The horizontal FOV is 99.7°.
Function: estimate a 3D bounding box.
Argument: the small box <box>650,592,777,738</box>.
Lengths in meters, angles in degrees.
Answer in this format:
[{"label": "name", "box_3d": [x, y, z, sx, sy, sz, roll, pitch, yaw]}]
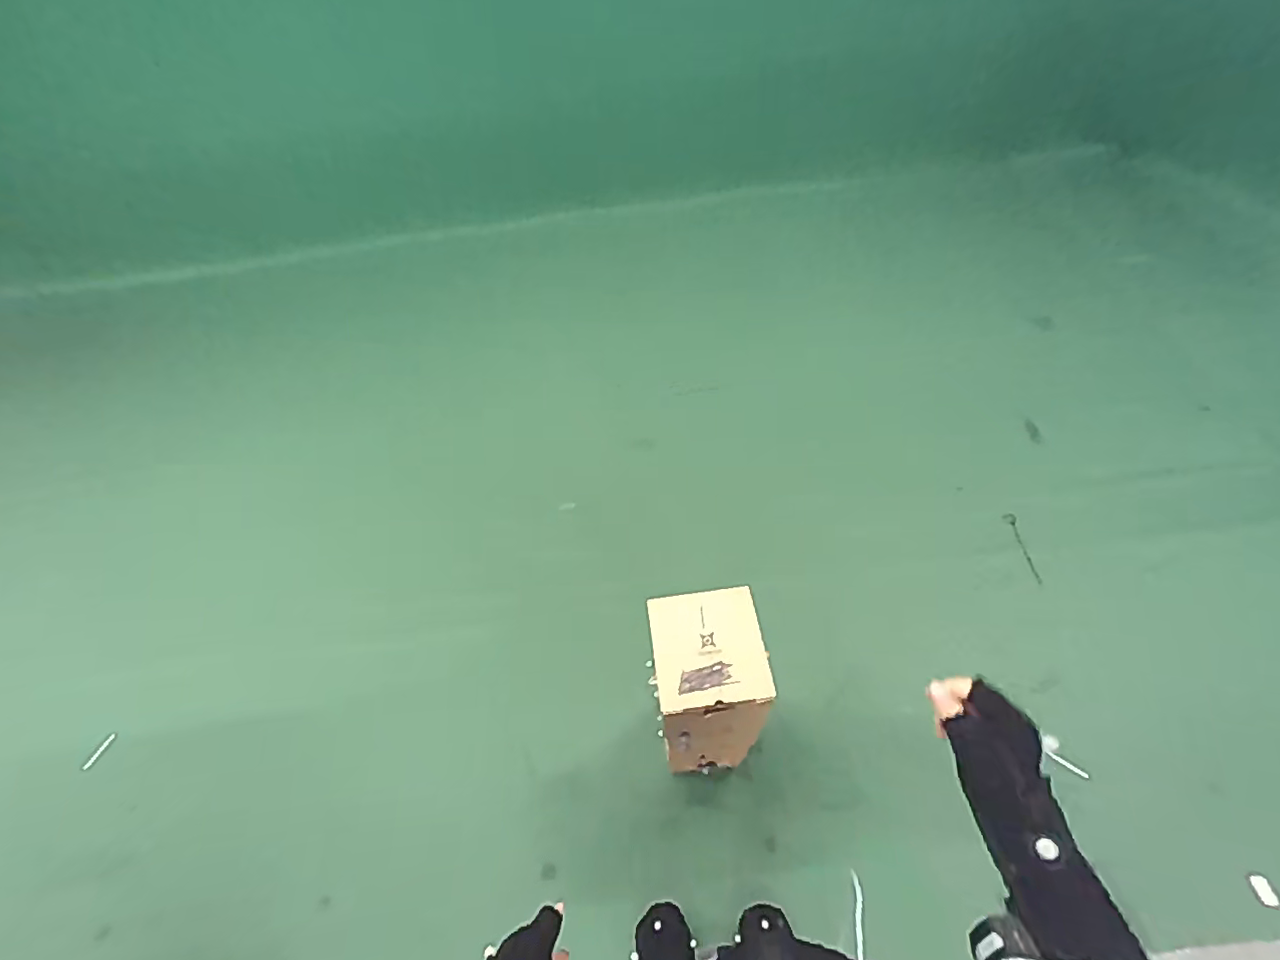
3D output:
[{"label": "small box", "box_3d": [0.112, 0.304, 0.870, 0.168, 0.176, 0.179, -7, 52, -1]}]

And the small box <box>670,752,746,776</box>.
[{"label": "small box", "box_3d": [0.149, 0.582, 1.275, 0.168, 0.176, 0.179, -7, 53, 1]}]

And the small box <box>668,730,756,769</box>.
[{"label": "small box", "box_3d": [0.137, 0.491, 1.140, 0.168, 0.176, 0.179, -8, 54, -1]}]
